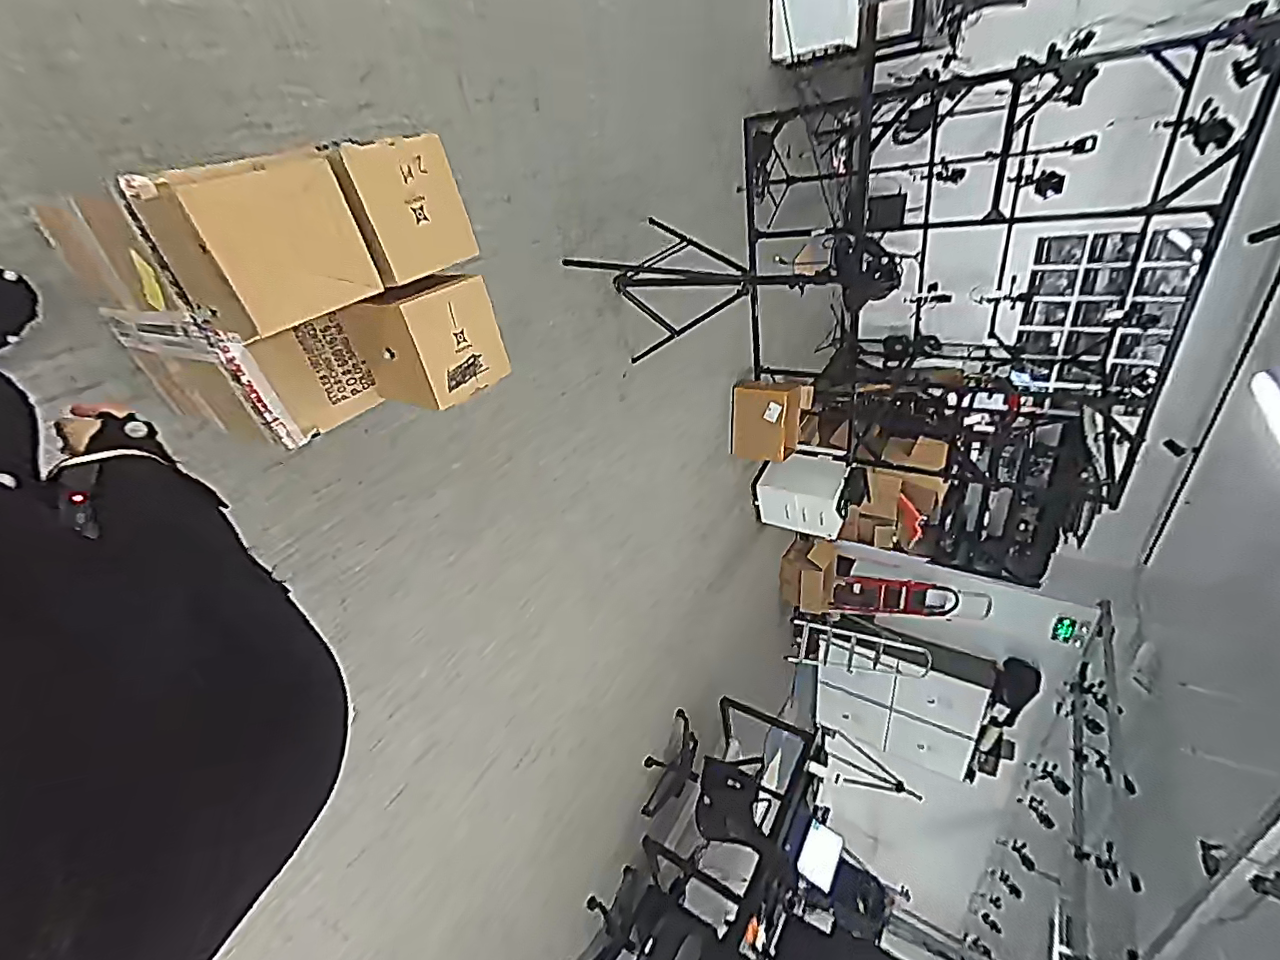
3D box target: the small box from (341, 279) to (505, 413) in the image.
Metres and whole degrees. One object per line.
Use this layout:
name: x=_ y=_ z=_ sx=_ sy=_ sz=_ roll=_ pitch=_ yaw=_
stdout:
small box: x=-0.367 y=-0.237 z=0.928 sx=0.168 sy=0.176 sz=0.179 roll=-43 pitch=135 yaw=-41
